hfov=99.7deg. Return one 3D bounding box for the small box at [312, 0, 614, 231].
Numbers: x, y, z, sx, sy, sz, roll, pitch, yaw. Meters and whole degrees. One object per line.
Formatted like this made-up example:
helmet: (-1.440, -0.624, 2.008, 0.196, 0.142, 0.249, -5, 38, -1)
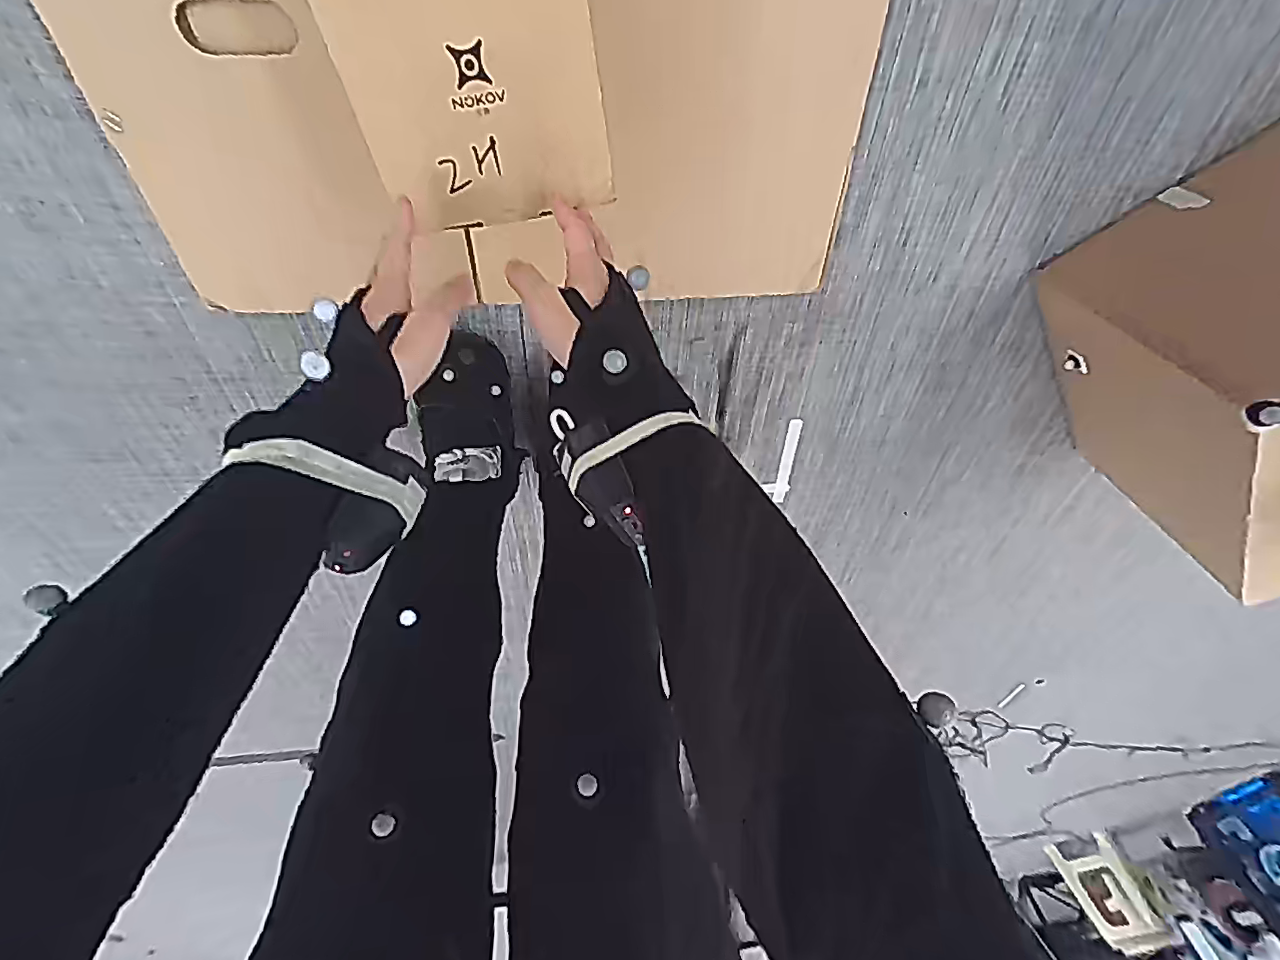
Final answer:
small box: (-0.116, -0.317, 0.411, 0.168, 0.176, 0.179, -8, 133, 2)
